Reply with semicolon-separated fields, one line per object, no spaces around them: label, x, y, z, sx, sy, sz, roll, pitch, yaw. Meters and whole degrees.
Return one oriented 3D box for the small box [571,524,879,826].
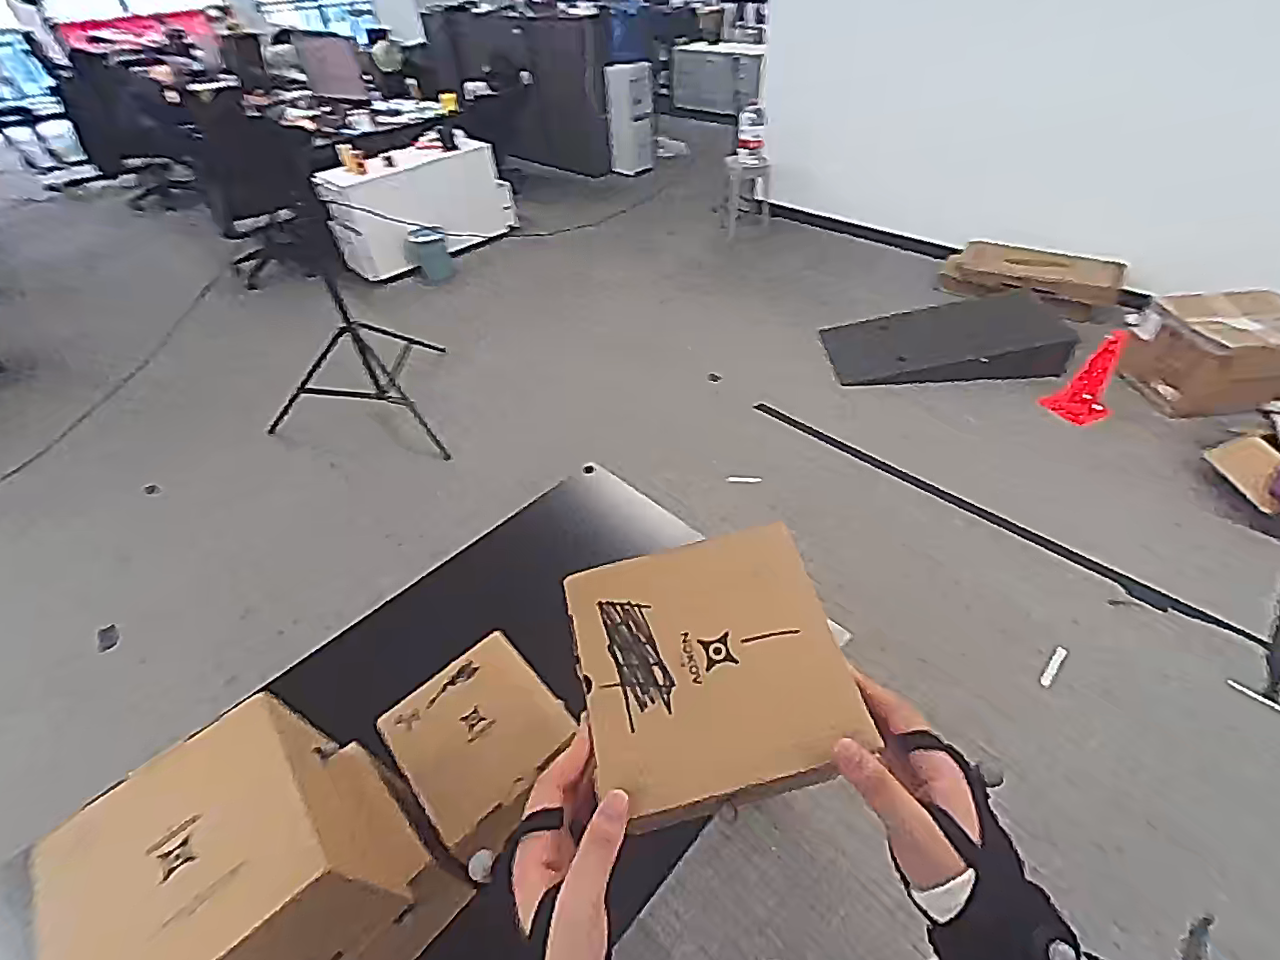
small box;0.056;0.163;0.433;0.179;0.176;0.168;-13;55;-2

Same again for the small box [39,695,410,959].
small box;-0.327;0.326;0.449;0.168;0.176;0.179;-36;53;-26
